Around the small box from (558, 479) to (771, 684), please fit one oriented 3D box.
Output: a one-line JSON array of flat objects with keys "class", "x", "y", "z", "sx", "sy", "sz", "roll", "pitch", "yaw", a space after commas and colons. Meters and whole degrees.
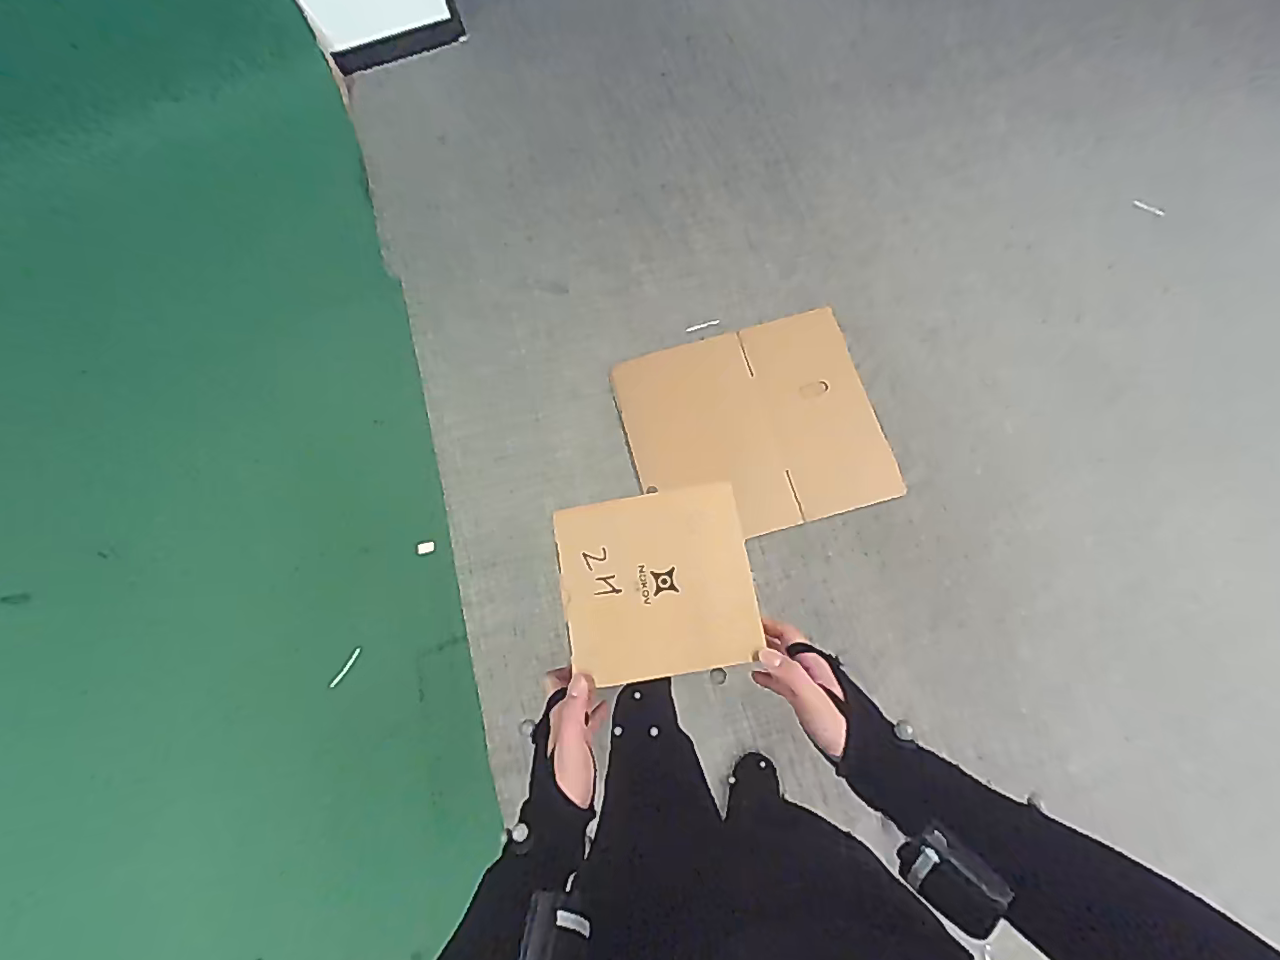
[{"class": "small box", "x": 0.025, "y": 0.107, "z": 0.570, "sx": 0.179, "sy": 0.176, "sz": 0.168, "roll": -10, "pitch": 76, "yaw": 4}]
